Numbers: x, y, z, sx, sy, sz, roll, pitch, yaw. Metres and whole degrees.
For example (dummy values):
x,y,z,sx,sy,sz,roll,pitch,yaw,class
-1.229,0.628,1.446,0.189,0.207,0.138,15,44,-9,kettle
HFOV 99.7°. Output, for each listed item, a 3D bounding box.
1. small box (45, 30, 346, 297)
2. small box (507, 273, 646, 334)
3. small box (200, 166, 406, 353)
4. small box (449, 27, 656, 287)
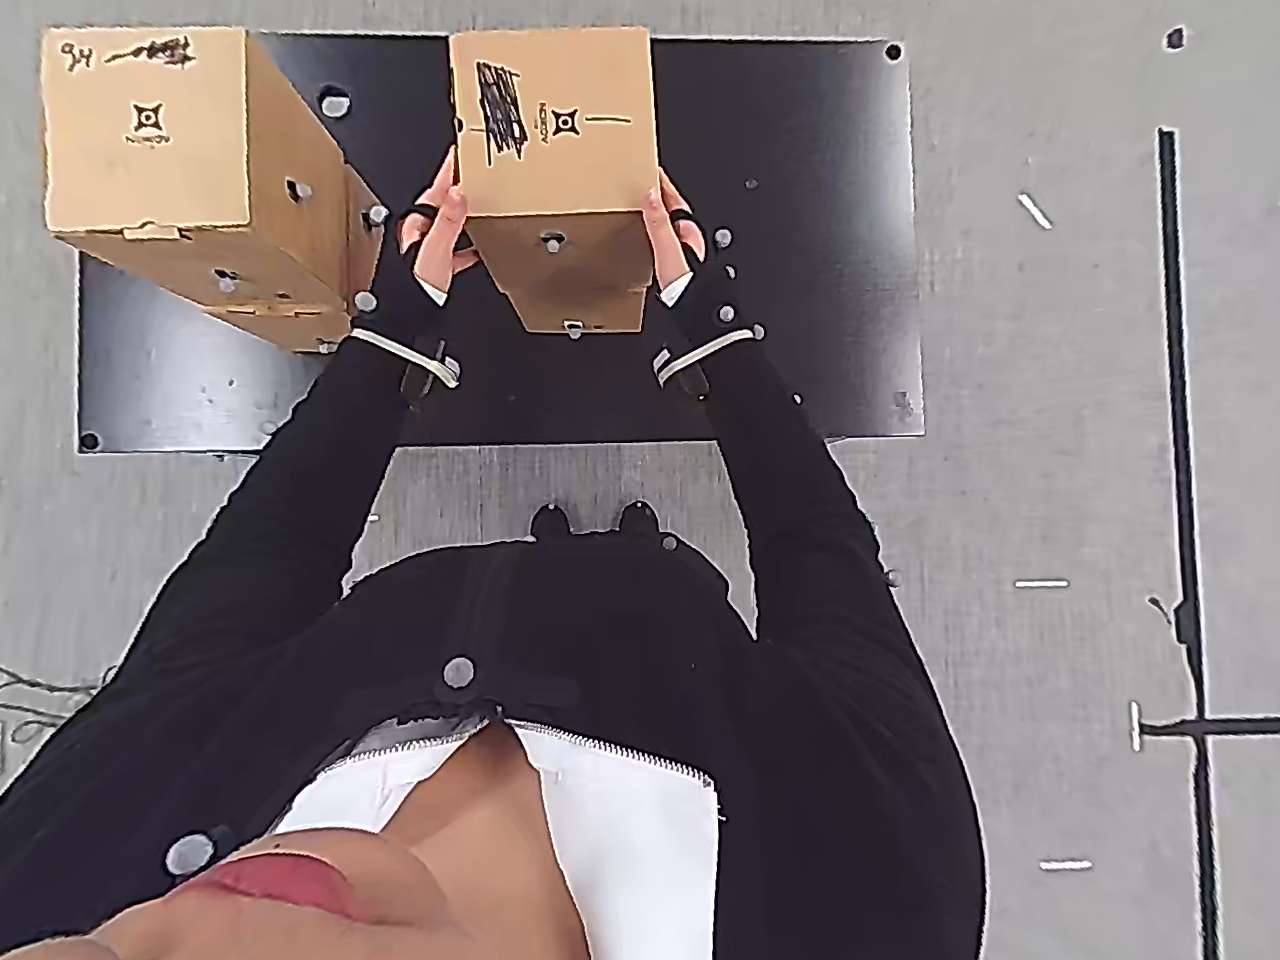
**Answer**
x,y,z,sx,sy,sz,roll,pitch,yaw,class
-0.412,-0.289,0.533,0.168,0.176,0.179,-3,89,-3,small box
-0.080,-0.305,0.714,0.168,0.176,0.179,-2,89,-1,small box
-0.417,-0.274,0.696,0.168,0.176,0.179,0,88,-2,small box
-0.078,-0.308,0.549,0.179,0.176,0.168,-4,88,-2,small box
